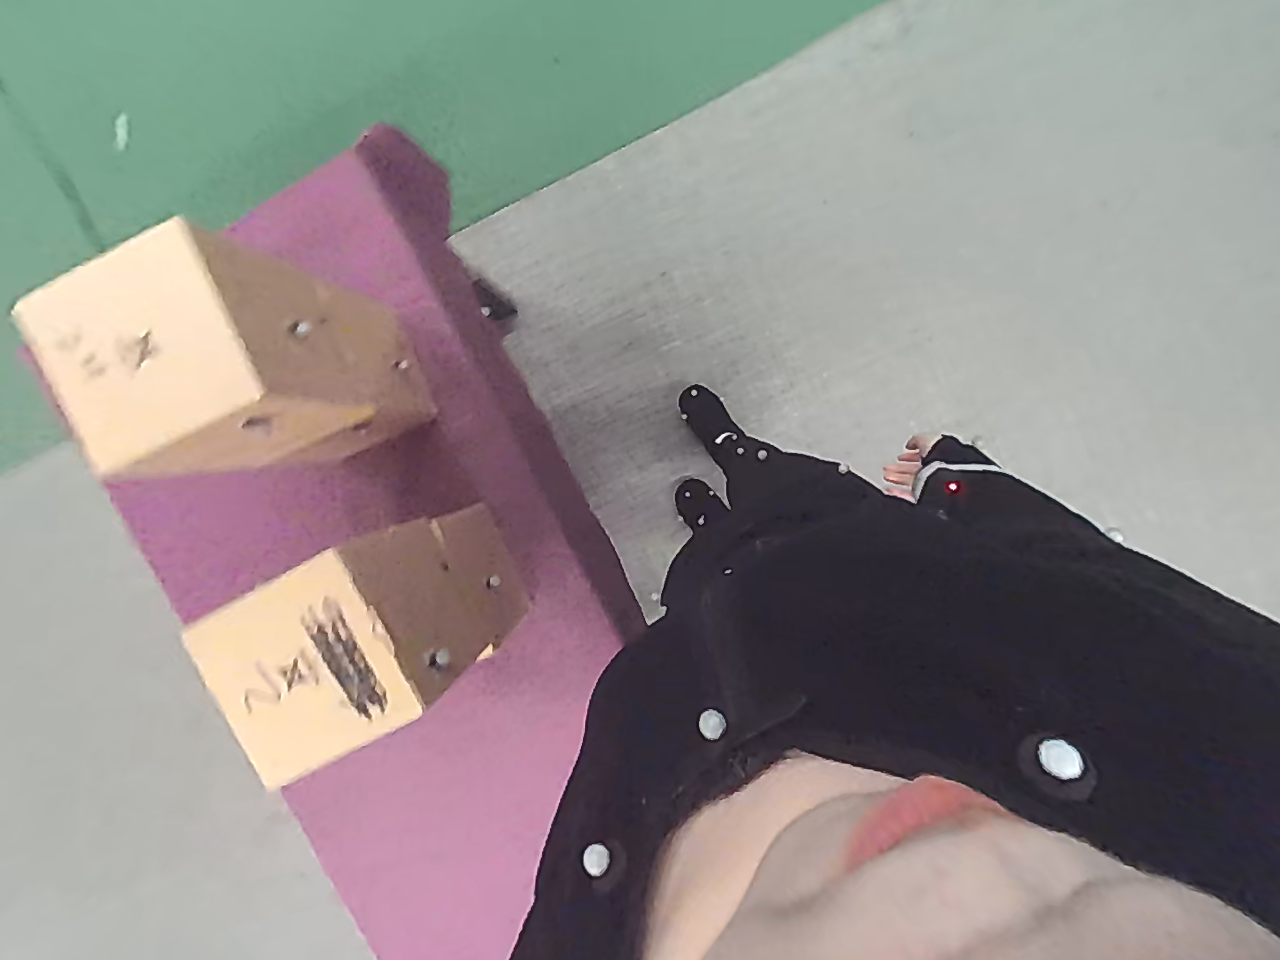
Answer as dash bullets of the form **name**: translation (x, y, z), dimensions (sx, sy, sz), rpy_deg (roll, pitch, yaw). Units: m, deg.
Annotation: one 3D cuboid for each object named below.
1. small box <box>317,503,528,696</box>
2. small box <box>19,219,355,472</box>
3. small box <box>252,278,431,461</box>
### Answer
- **small box**: translation (-0.271, 0.146, 0.719), dimensions (0.168, 0.176, 0.179), rpy_deg (-24, 93, 6)
- **small box**: translation (-0.425, -0.120, 0.545), dimensions (0.179, 0.176, 0.168), rpy_deg (-24, 92, 5)
- **small box**: translation (-0.413, -0.131, 0.709), dimensions (0.179, 0.176, 0.168), rpy_deg (-23, 92, 5)
